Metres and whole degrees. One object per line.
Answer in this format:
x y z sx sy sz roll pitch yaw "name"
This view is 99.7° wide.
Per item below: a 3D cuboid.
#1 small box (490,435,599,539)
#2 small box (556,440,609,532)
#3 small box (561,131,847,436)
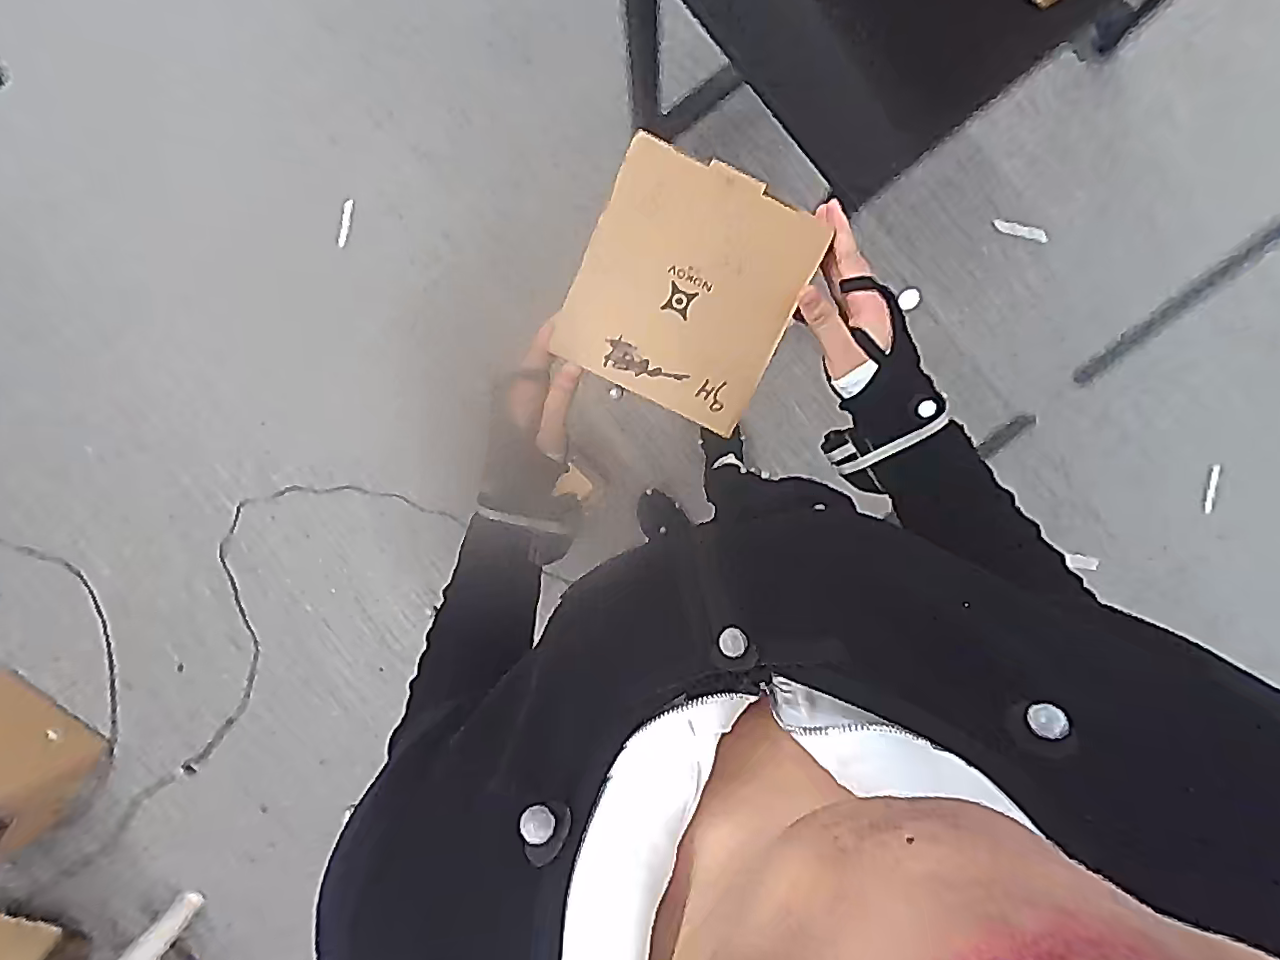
-0.214 0.014 1.273 0.179 0.176 0.168 44 91 3 "small box"
-0.202 0.017 1.435 0.168 0.176 0.179 -42 89 2 "small box"
0.051 -0.161 0.493 0.168 0.176 0.179 27 103 0 "small box"
